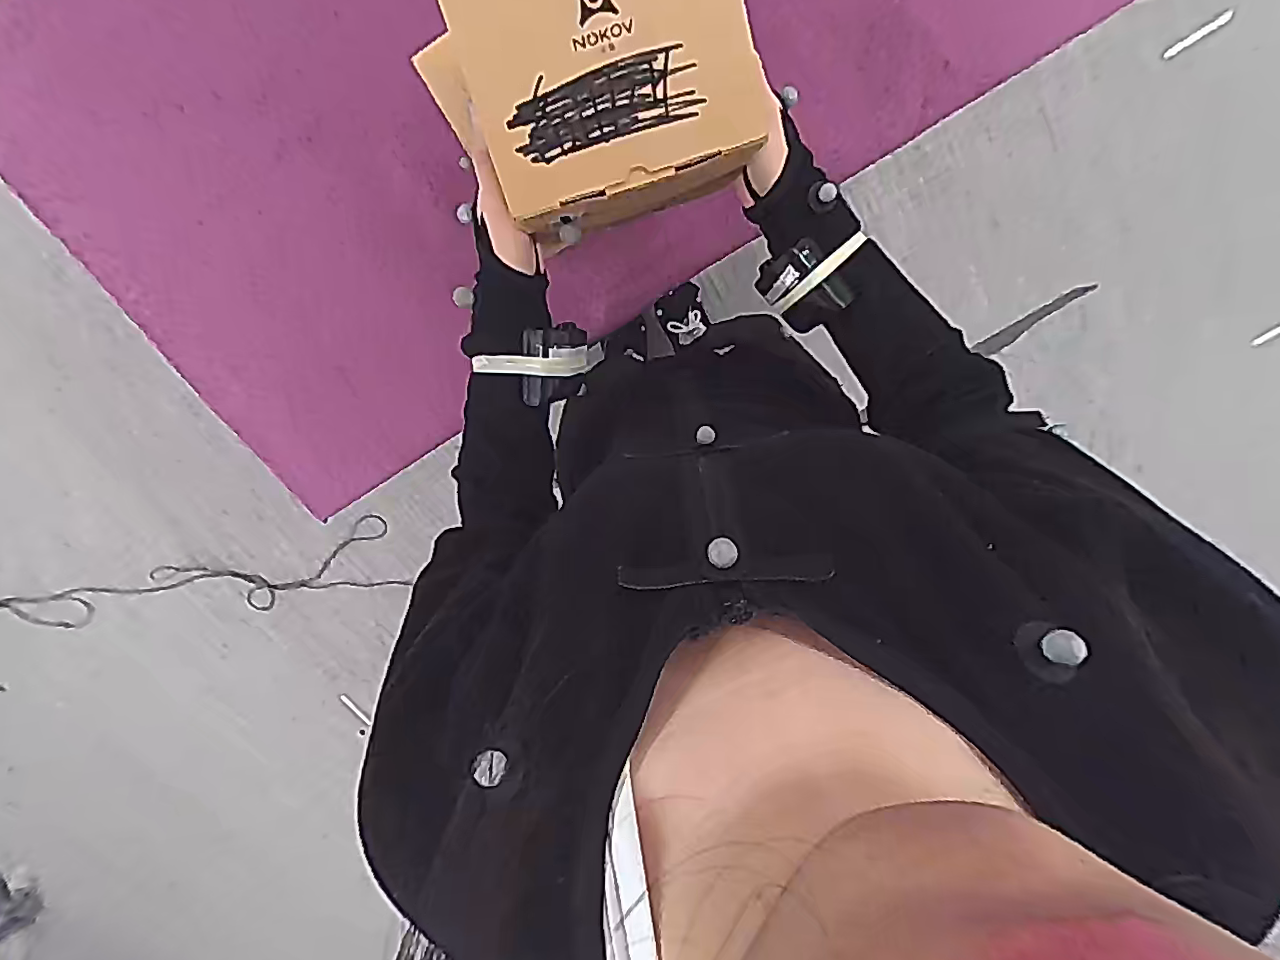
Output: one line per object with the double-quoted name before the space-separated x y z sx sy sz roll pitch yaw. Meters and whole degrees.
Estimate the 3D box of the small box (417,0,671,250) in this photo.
"small box" -0.086 -0.361 0.557 0.168 0.176 0.179 -29 107 8
